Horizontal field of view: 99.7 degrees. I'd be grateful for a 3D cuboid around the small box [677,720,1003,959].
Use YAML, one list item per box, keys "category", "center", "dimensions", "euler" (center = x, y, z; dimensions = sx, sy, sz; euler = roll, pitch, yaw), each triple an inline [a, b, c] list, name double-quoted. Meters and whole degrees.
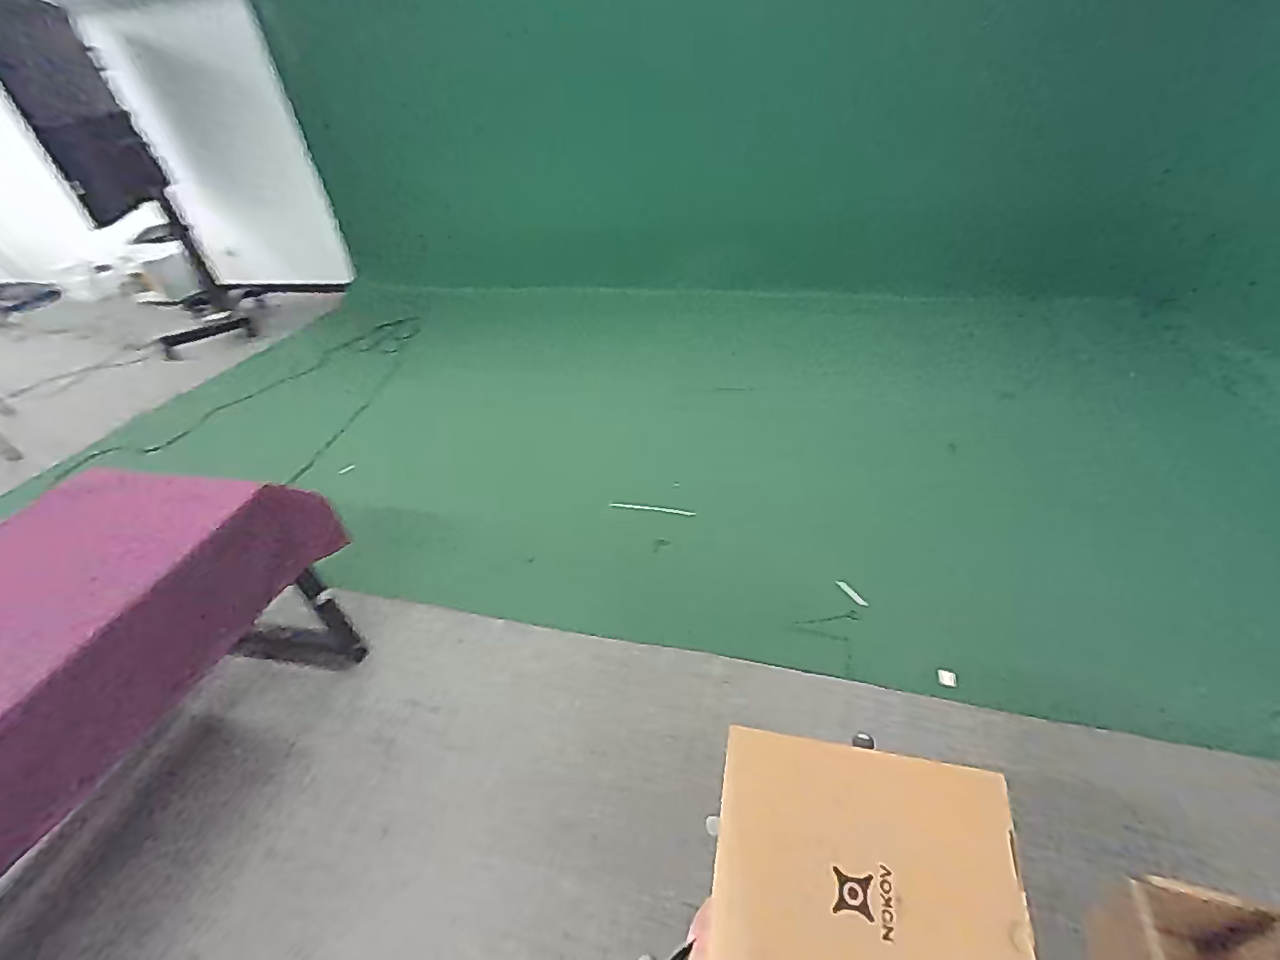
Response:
- category: "small box"
  center: [0.131, 0.290, 0.386]
  dimensions: [0.179, 0.176, 0.168]
  euler: [3, 55, 15]
